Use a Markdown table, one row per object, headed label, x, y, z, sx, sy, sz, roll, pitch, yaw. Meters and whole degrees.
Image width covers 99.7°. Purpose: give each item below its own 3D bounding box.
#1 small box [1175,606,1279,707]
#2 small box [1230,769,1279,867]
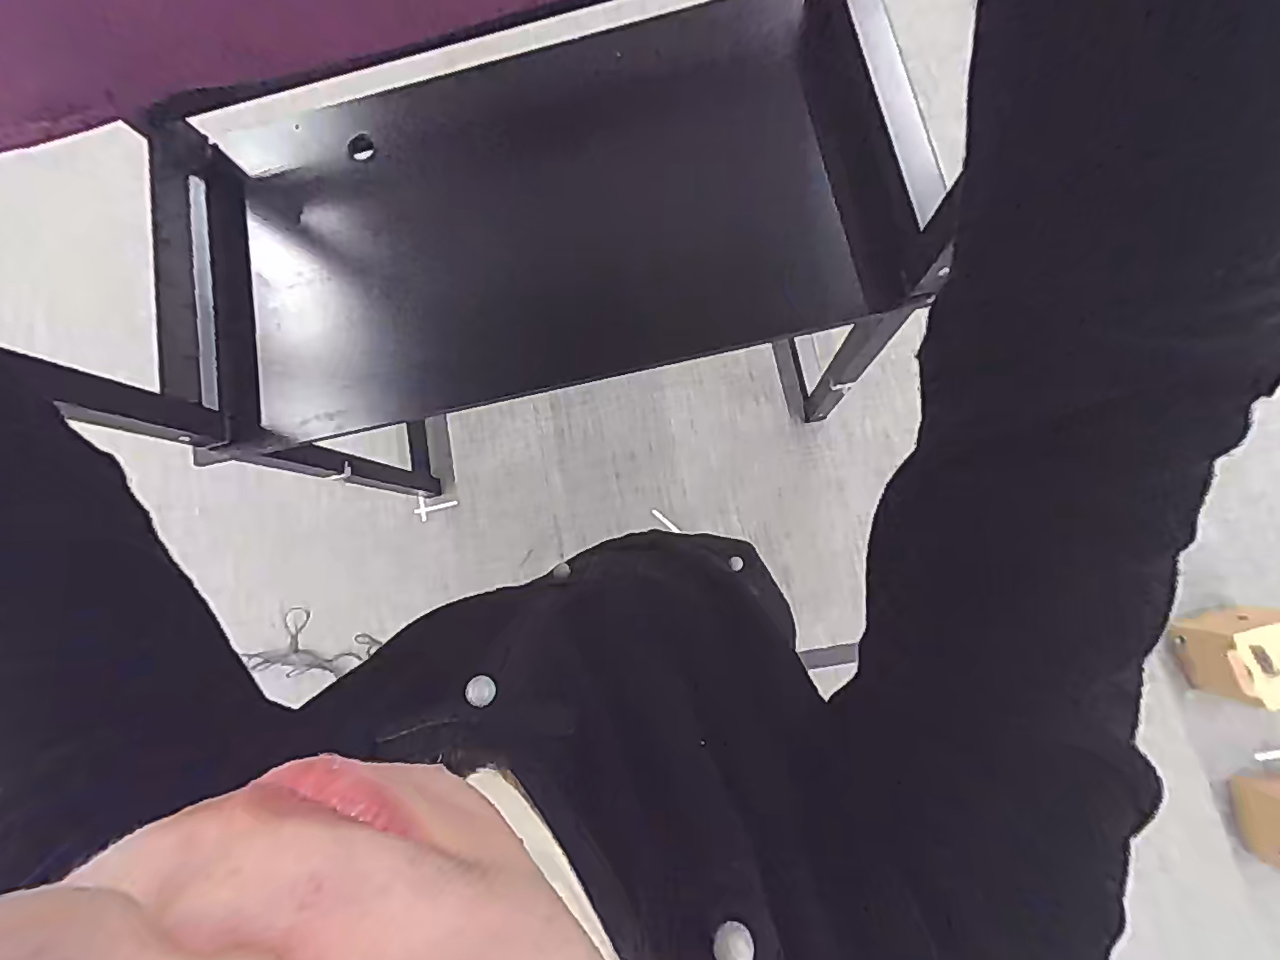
| label | x | y | z | sx | sy | sz | roll | pitch | yaw |
| --- | --- | --- | --- | --- | --- | --- | --- | --- | --- |
| small box | 1.391 | 0.394 | 1.233 | 0.179 | 0.176 | 0.168 | -18 | 81 | 3 |
| small box | 1.468 | 0.757 | 1.177 | 0.168 | 0.176 | 0.179 | -10 | 81 | 5 |
